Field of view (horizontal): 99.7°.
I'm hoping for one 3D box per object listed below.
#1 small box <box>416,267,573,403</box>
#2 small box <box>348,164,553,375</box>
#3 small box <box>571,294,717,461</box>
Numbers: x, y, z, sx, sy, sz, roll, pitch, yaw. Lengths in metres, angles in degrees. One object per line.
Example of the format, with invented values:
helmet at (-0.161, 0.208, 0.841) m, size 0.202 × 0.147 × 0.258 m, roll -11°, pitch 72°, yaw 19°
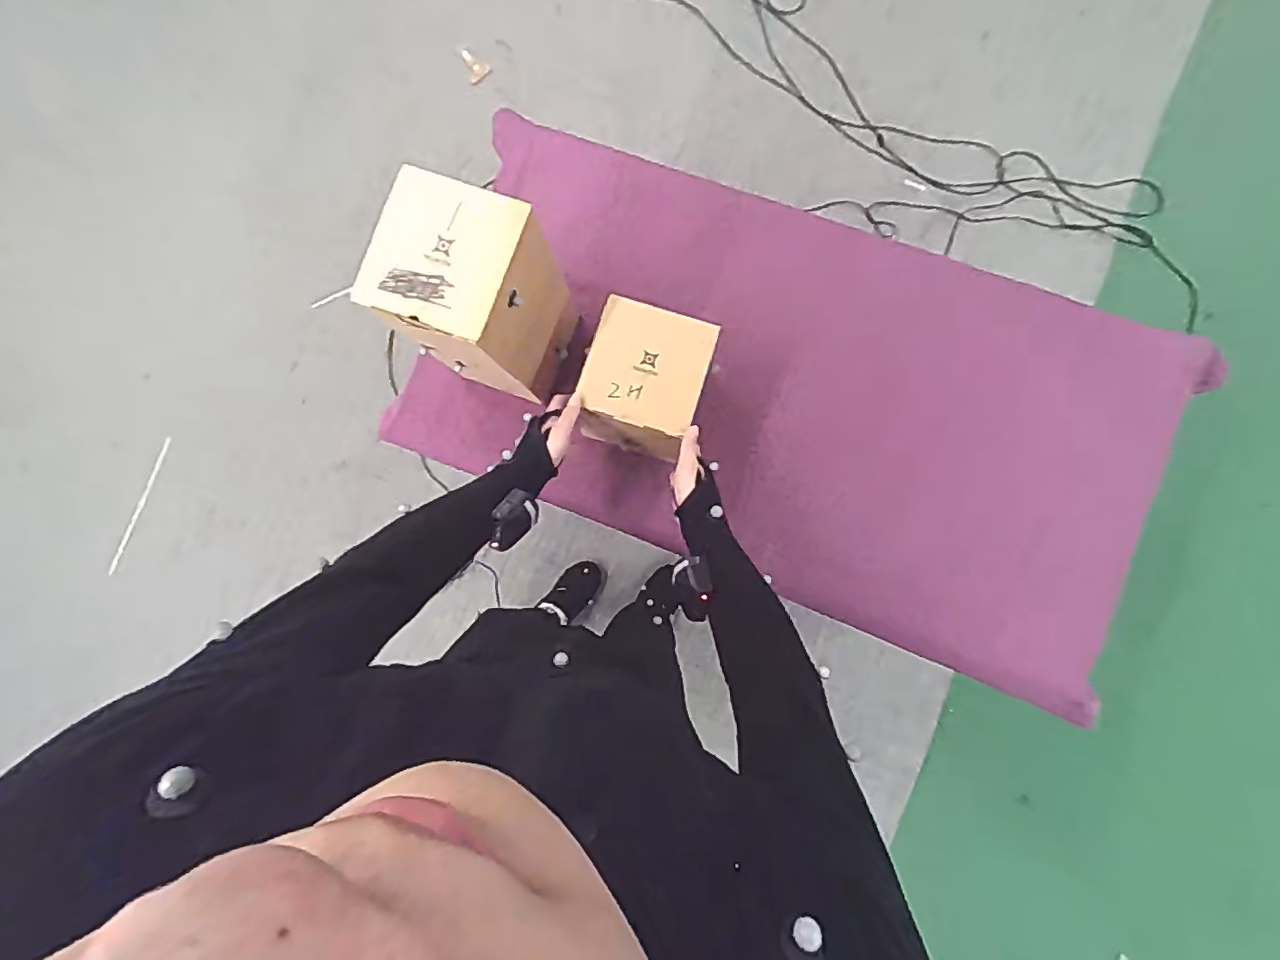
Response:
small box at (-0.218, -0.243, 0.861) m, size 0.168 × 0.176 × 0.179 m, roll 20°, pitch 87°, yaw 6°
small box at (-0.227, -0.254, 0.698) m, size 0.168 × 0.176 × 0.179 m, roll 20°, pitch 87°, yaw 5°
small box at (0.004, -0.146, 0.825) m, size 0.168 × 0.176 × 0.179 m, roll 17°, pitch 80°, yaw 2°
